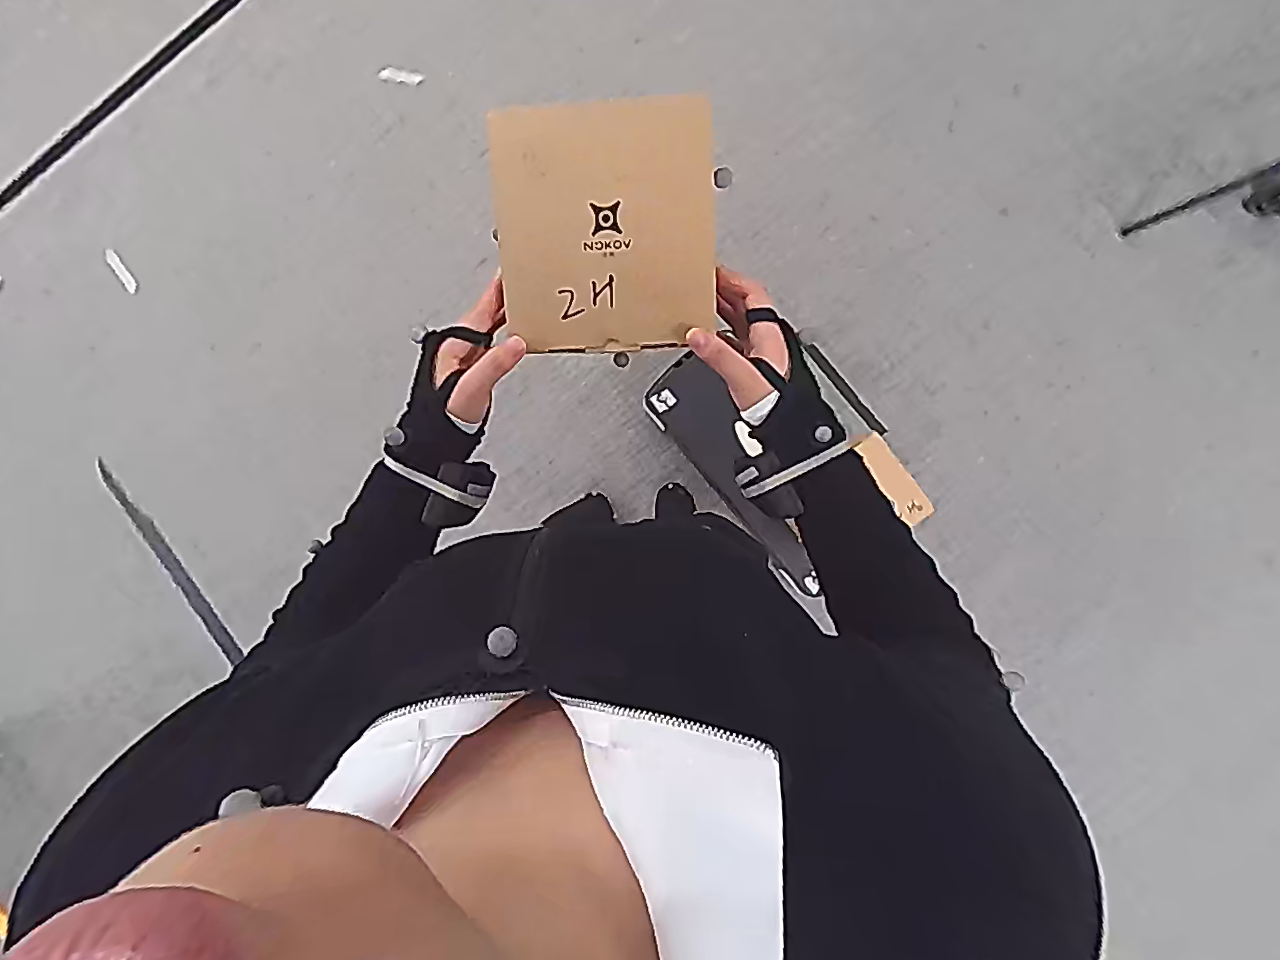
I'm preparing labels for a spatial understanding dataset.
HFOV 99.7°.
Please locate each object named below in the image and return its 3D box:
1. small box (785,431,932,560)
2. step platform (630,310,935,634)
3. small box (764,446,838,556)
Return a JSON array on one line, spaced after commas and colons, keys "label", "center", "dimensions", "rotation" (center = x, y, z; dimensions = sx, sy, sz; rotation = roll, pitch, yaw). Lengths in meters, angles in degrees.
[{"label": "small box", "center": [0.402, 0.032, 1.033], "dimensions": [0.168, 0.176, 0.179], "rotation": [-35, 87, 2]}, {"label": "step platform", "center": [0.282, -0.017, 1.168], "dimensions": [0.286, 0.204, 0.684], "rotation": [-39, 88, 2]}, {"label": "small box", "center": [0.396, 0.044, 1.197], "dimensions": [0.168, 0.176, 0.179], "rotation": [-38, 86, 2]}]
